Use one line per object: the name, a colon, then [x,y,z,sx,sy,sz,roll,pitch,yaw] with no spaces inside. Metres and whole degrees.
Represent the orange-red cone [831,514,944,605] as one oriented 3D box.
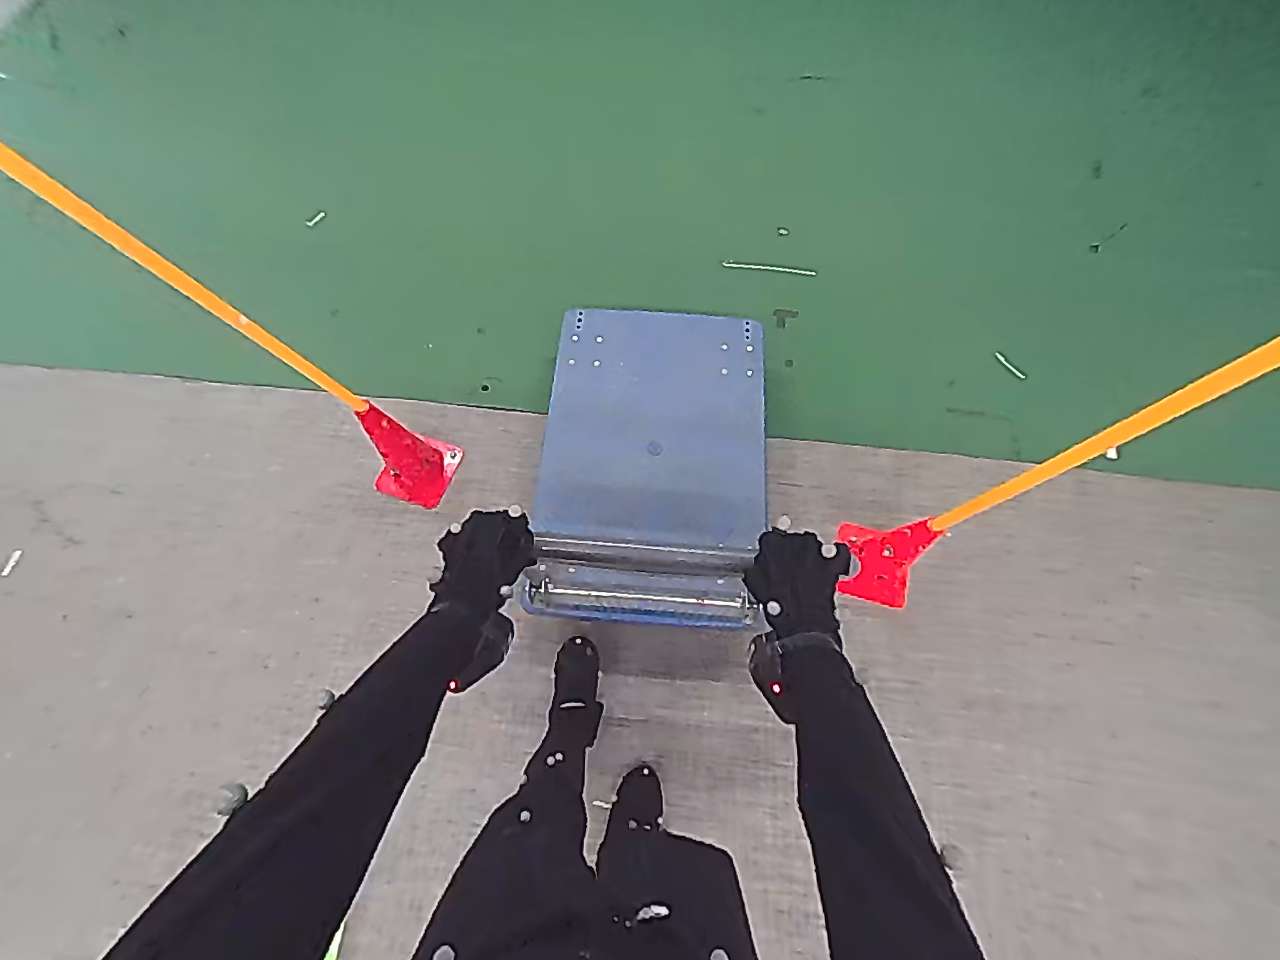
orange-red cone: [0.622,0.155,1.291,0.198,0.360,0.199,16,70,7]
